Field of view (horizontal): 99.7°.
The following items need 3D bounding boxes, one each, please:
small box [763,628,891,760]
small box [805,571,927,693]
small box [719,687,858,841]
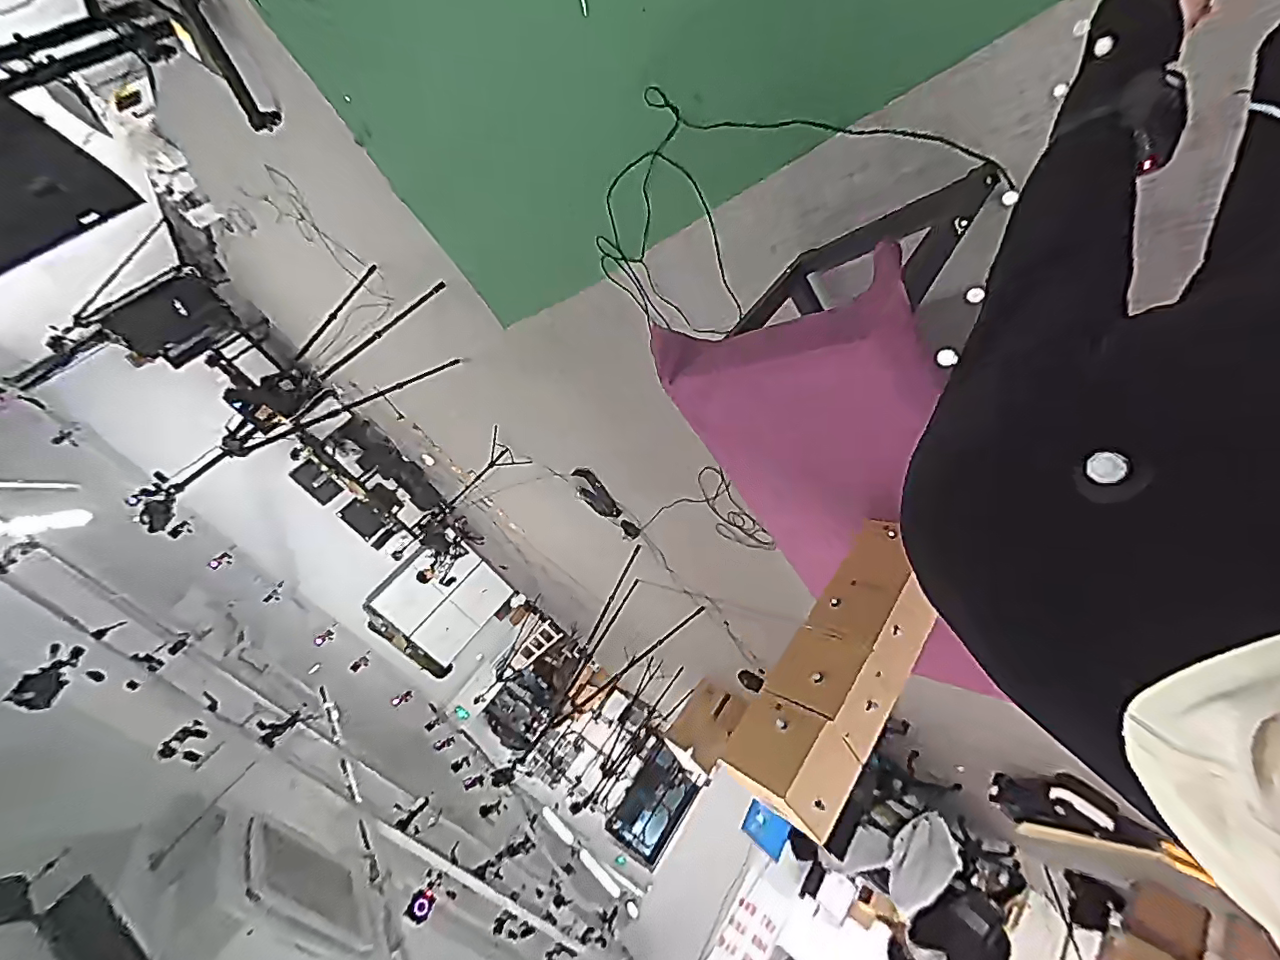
[{"bbox_3d":[0.397,0.434,1.126,0.179,0.176,0.168,4,136,53],"label":"small box"},{"bbox_3d":[0.499,0.324,1.188,0.168,0.176,0.179,5,137,53],"label":"small box"},{"bbox_3d":[0.296,0.546,1.060,0.168,0.176,0.179,3,134,55],"label":"small box"}]
